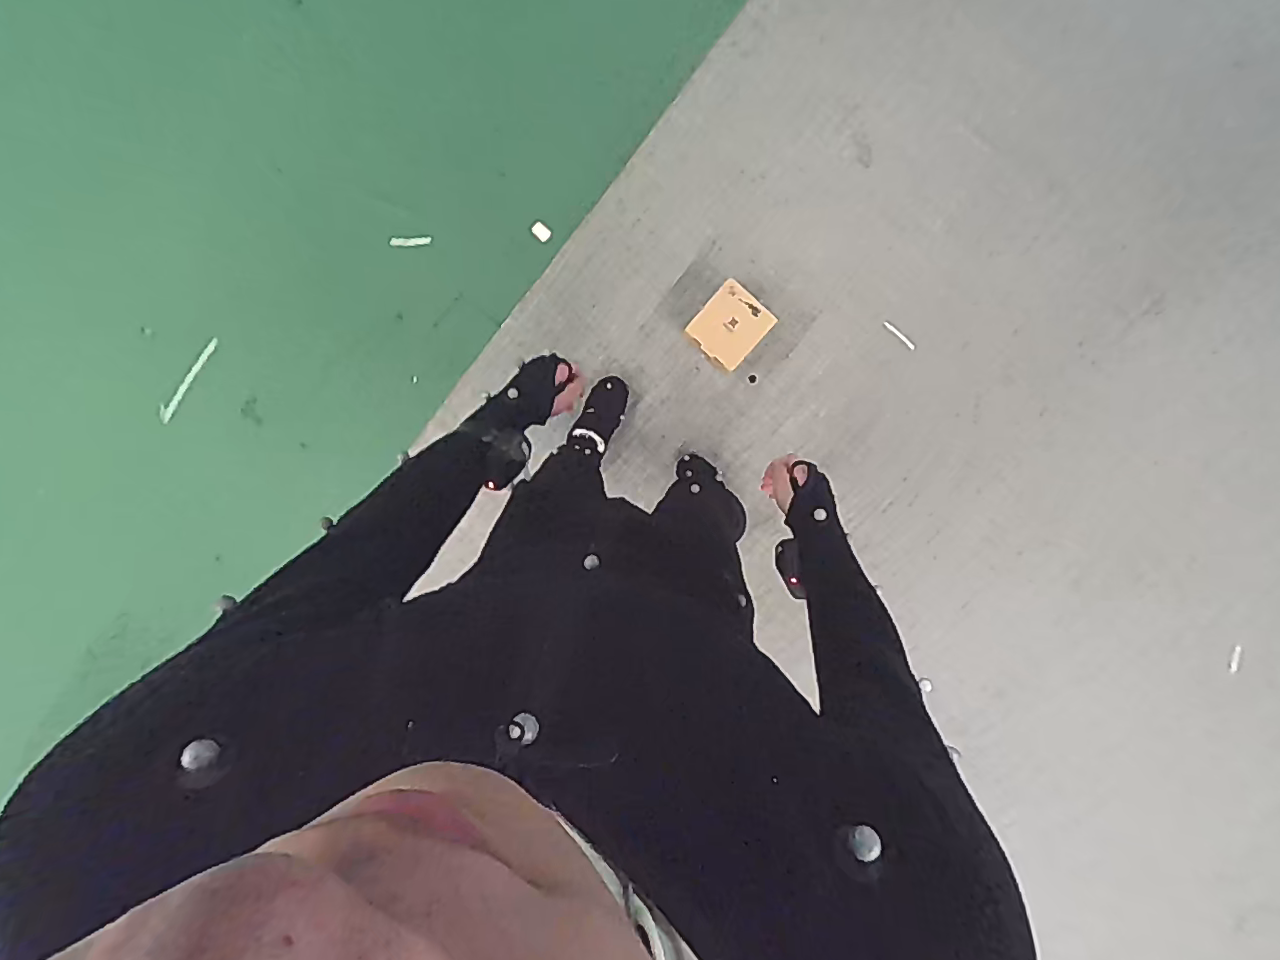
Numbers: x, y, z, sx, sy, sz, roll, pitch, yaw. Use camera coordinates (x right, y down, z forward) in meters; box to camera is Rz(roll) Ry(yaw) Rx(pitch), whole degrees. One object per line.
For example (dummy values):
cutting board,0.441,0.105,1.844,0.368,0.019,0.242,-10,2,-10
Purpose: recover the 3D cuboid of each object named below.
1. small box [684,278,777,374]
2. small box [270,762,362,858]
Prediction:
small box,0.234,-0.399,1.435,0.168,0.176,0.179,42,100,-4
small box,-1.060,1.084,1.791,0.168,0.176,0.179,36,101,-3
